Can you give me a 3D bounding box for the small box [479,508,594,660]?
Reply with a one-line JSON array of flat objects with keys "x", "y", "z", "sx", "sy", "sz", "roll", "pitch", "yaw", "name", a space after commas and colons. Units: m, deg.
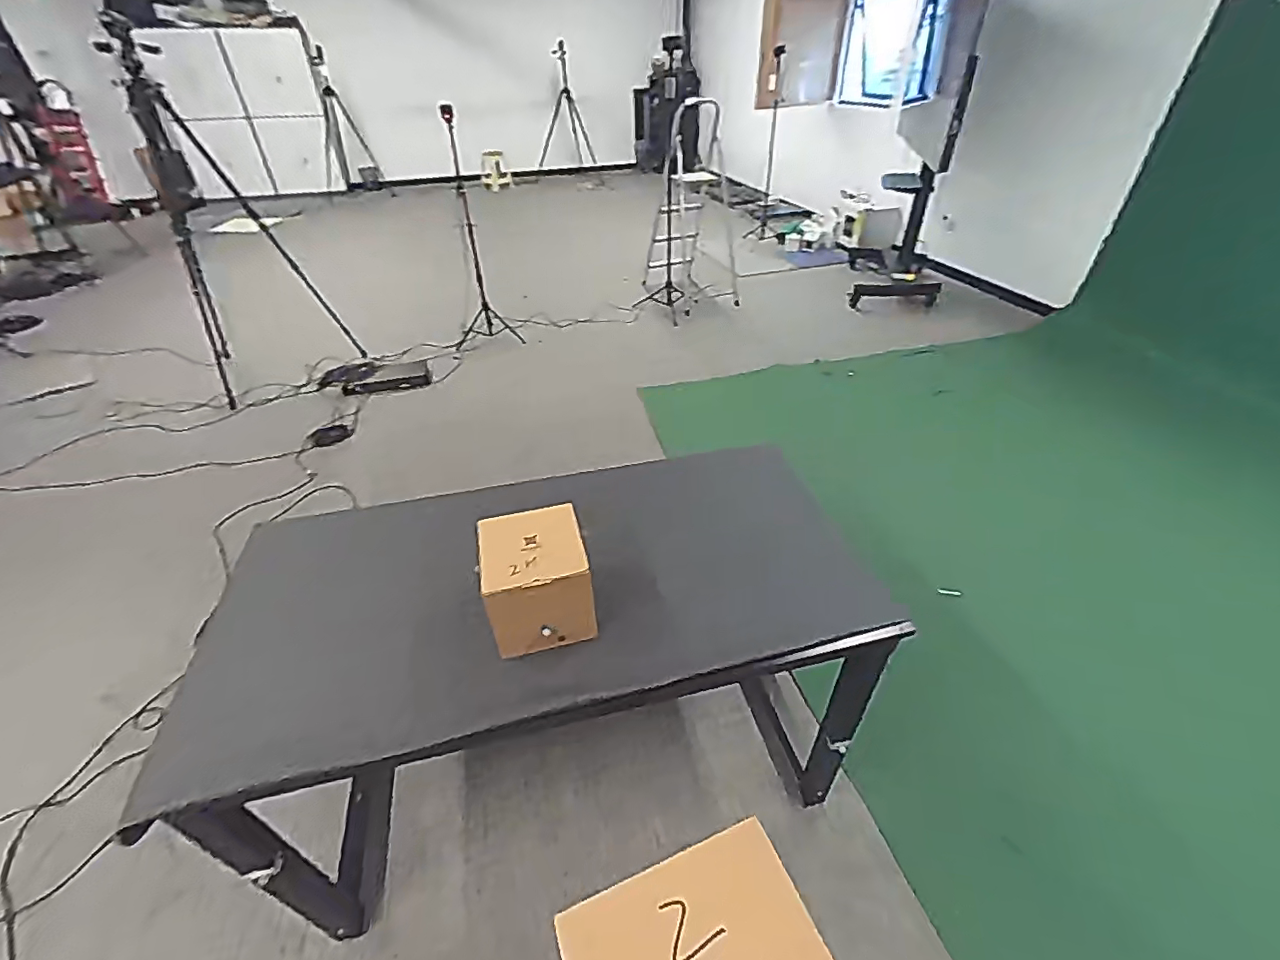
[{"x": -0.178, "y": 0.178, "z": 0.934, "sx": 0.168, "sy": 0.176, "sz": 0.179, "roll": -11, "pitch": 38, "yaw": -11, "name": "small box"}]
